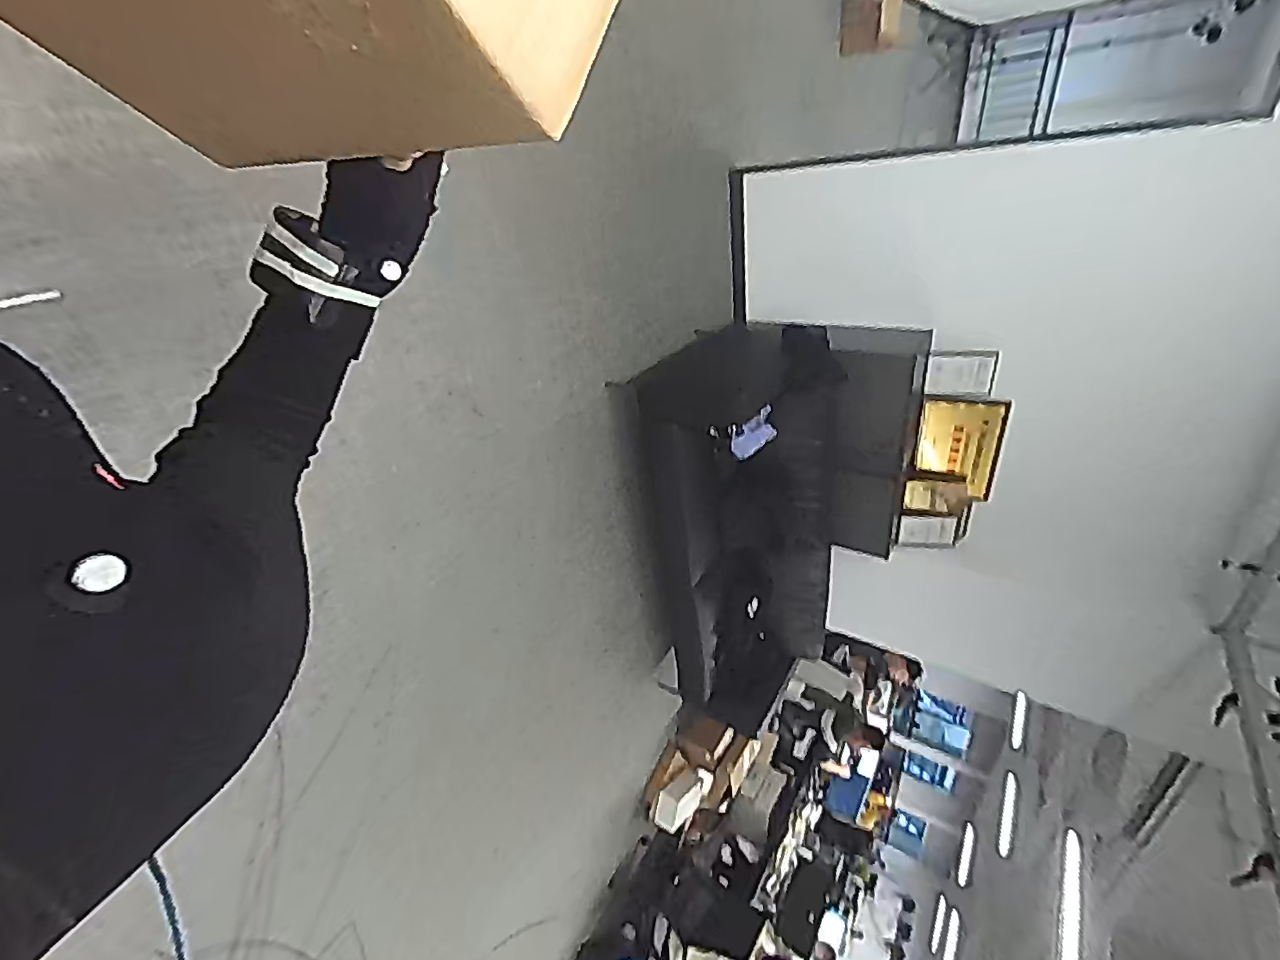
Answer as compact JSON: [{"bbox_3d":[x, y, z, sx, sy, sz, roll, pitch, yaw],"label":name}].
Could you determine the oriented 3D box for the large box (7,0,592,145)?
[{"bbox_3d":[-0.208,-0.385,0.156,0.408,0.320,0.320,28,80,-61],"label":"large box"}]
